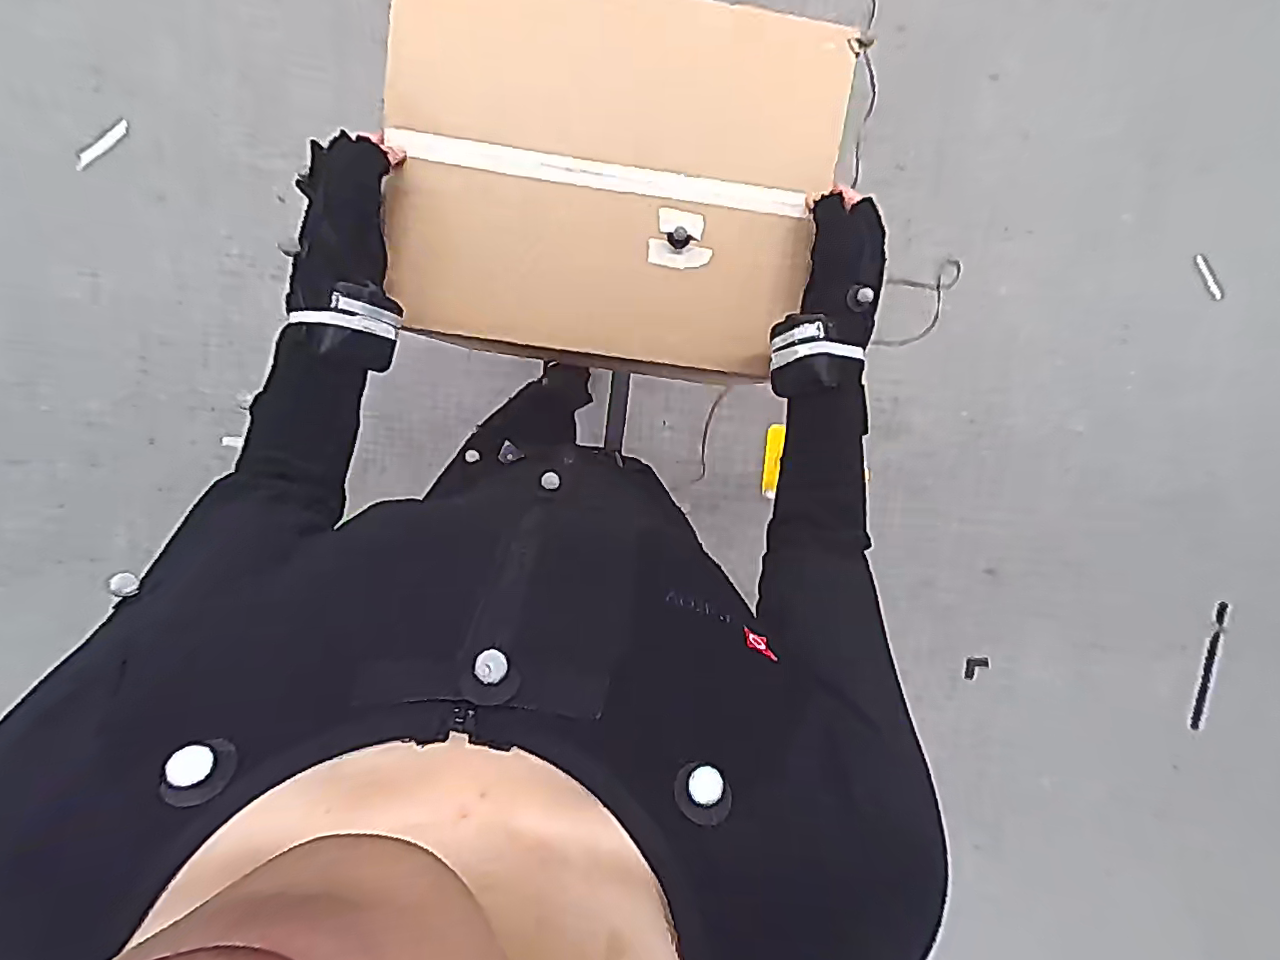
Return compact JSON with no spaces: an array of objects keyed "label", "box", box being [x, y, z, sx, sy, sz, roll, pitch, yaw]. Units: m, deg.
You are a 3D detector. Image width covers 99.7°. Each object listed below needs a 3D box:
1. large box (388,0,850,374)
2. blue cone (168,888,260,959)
[{"label":"large box","box":[-0.032,-0.309,0.642,0.408,0.320,0.320,7,99,-5]},{"label":"blue cone","box":[-1.160,1.254,1.353,0.192,0.380,0.193,9,95,-3]}]
